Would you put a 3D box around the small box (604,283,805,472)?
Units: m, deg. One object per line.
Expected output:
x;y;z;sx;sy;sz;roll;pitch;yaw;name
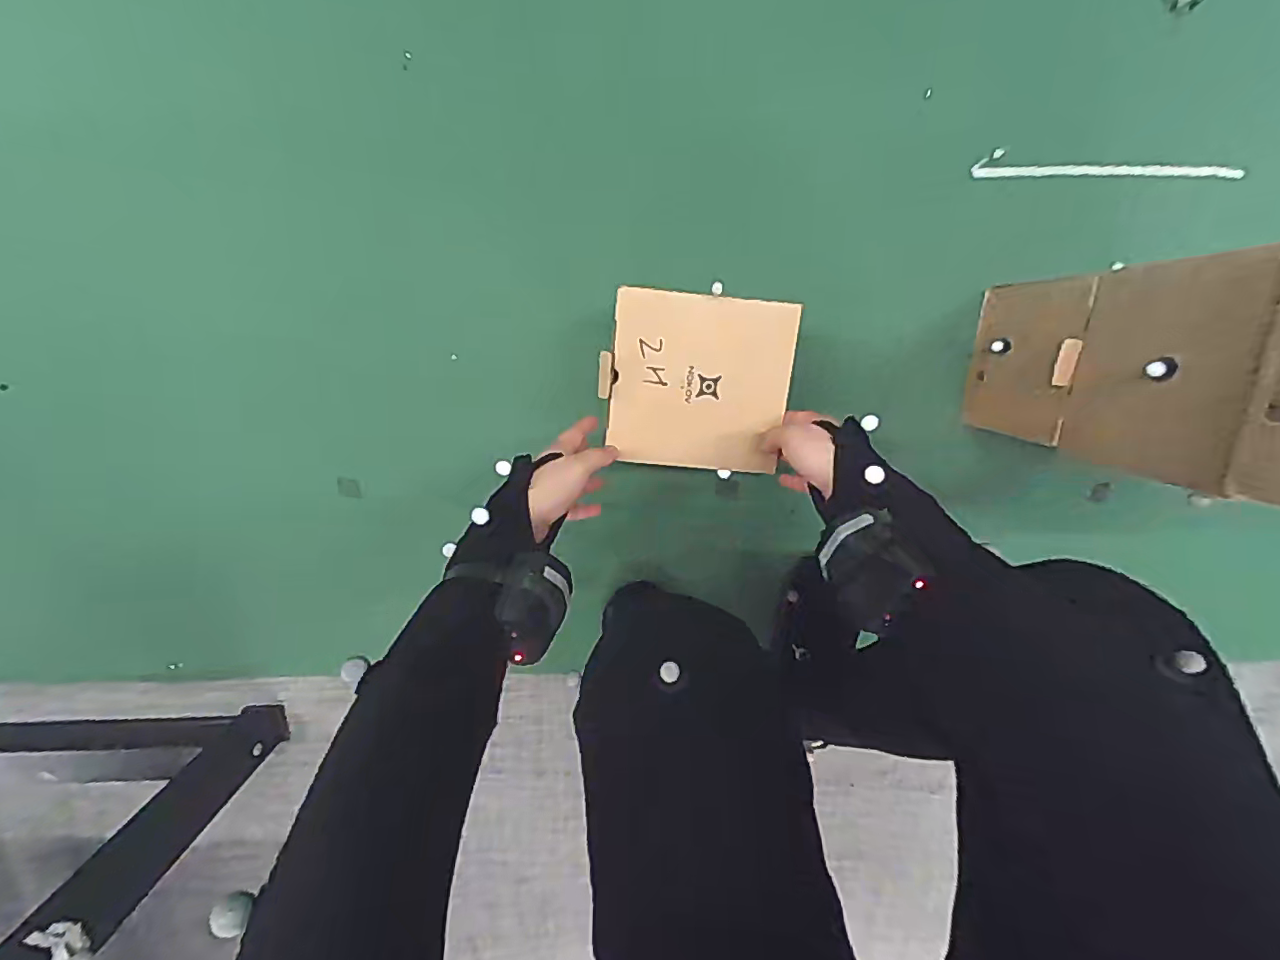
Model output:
0.058;-0.114;0.591;0.179;0.176;0.168;5;105;-1;small box

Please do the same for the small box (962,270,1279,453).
0.501;-0.132;0.595;0.179;0.176;0.168;3;105;-1;small box
